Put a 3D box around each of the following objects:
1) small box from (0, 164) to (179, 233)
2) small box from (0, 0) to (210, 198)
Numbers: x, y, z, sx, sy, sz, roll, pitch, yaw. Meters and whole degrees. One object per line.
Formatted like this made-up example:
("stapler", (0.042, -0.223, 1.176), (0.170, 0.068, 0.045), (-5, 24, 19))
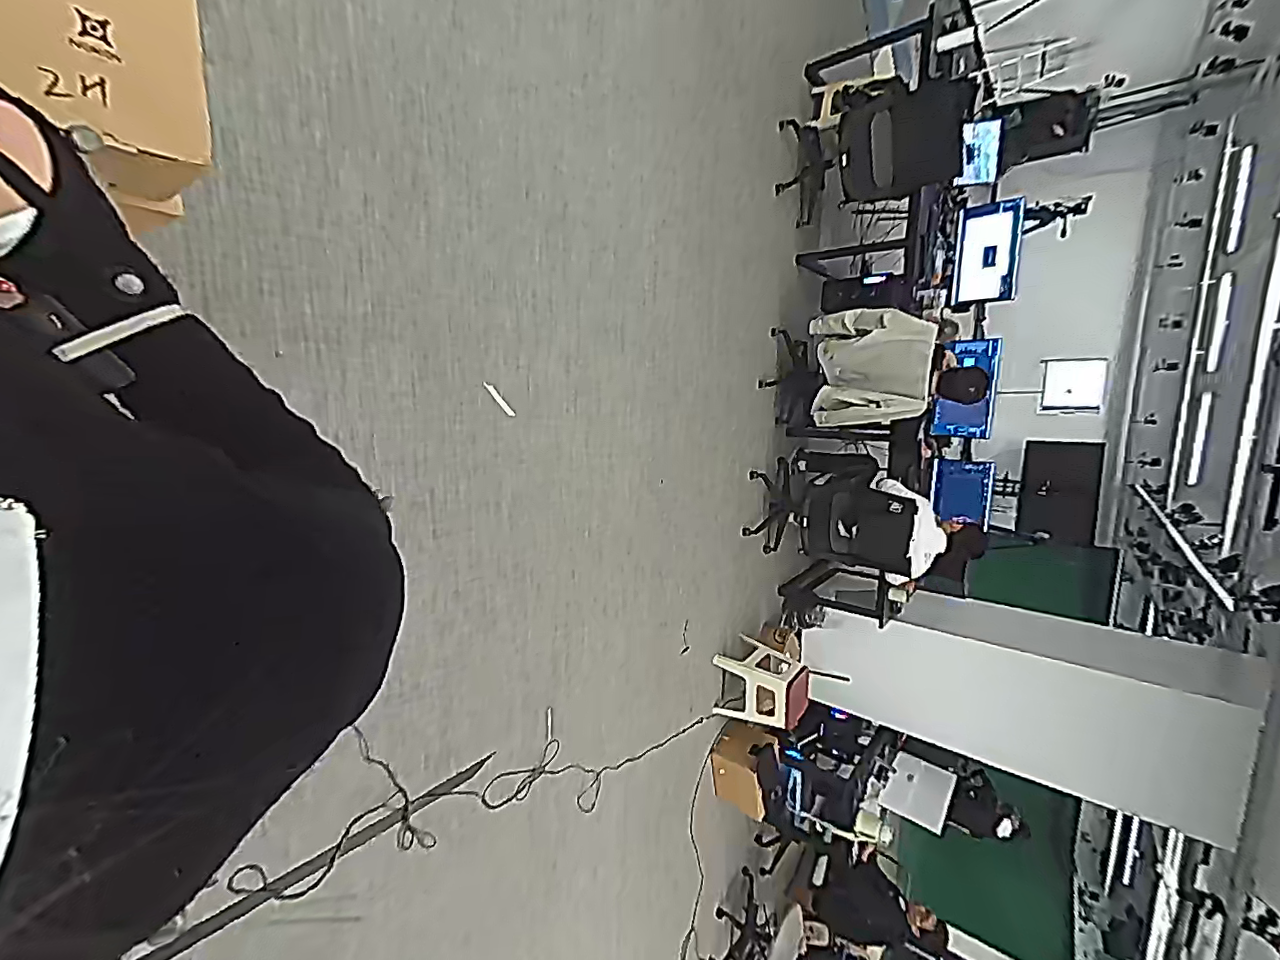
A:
("small box", (-0.686, -0.417, 0.647), (0.168, 0.176, 0.179), (-8, 104, -54))
("small box", (-0.563, -0.408, 0.536), (0.168, 0.176, 0.179), (-11, 106, -53))
